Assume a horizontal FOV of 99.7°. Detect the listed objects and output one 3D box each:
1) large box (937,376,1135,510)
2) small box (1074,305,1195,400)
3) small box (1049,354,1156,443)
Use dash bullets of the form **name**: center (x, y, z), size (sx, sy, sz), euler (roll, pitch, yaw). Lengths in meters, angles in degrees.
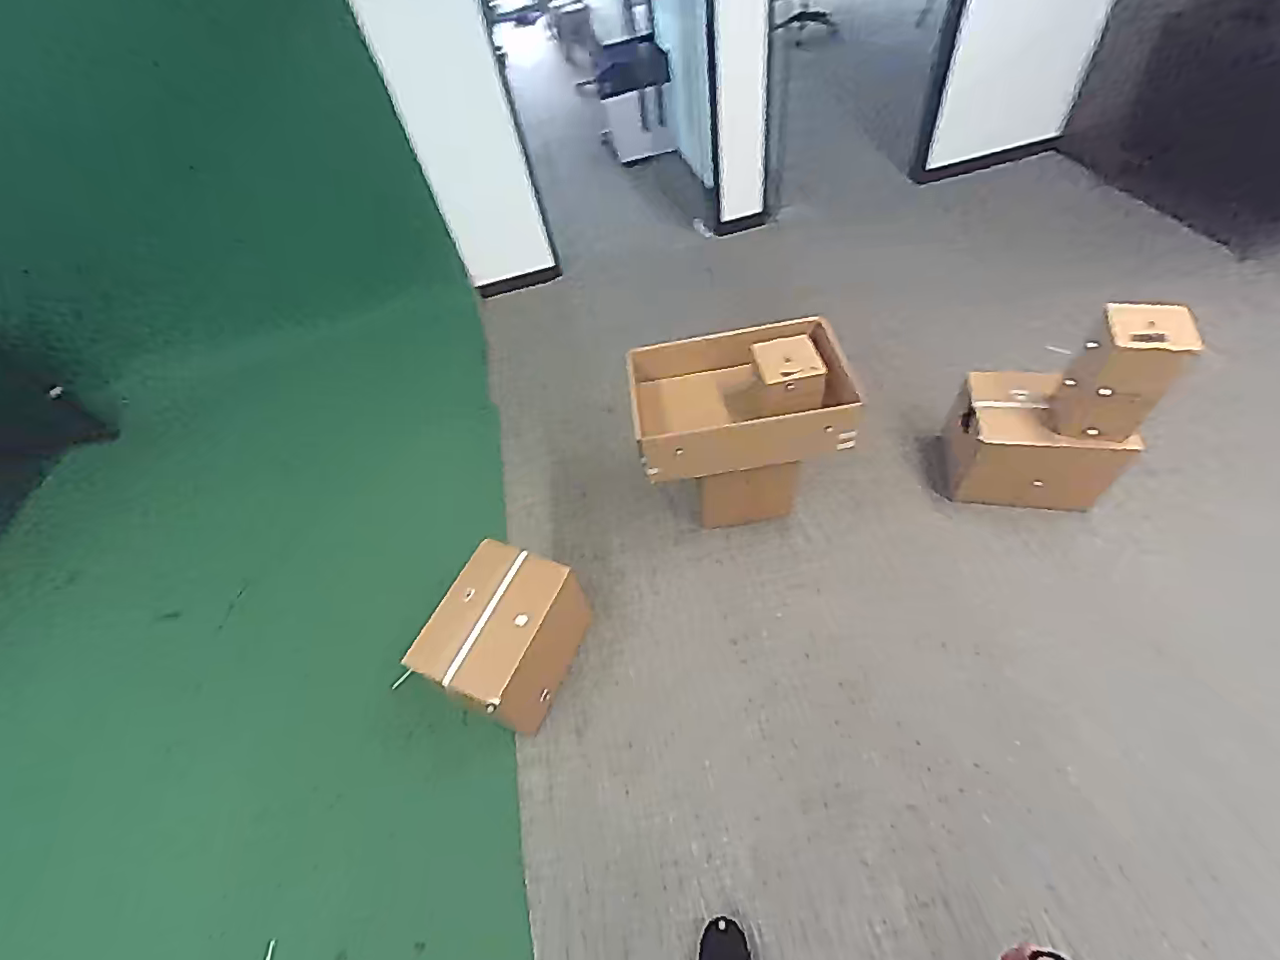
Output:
- **large box**: center (1.240, -0.120, 1.750), size (0.408, 0.320, 0.320), euler (3, 52, 14)
- **small box**: center (1.252, -0.324, 1.385), size (0.168, 0.176, 0.179), euler (9, 55, 18)
- **small box**: center (1.282, -0.231, 1.516), size (0.168, 0.176, 0.179), euler (9, 56, 18)
